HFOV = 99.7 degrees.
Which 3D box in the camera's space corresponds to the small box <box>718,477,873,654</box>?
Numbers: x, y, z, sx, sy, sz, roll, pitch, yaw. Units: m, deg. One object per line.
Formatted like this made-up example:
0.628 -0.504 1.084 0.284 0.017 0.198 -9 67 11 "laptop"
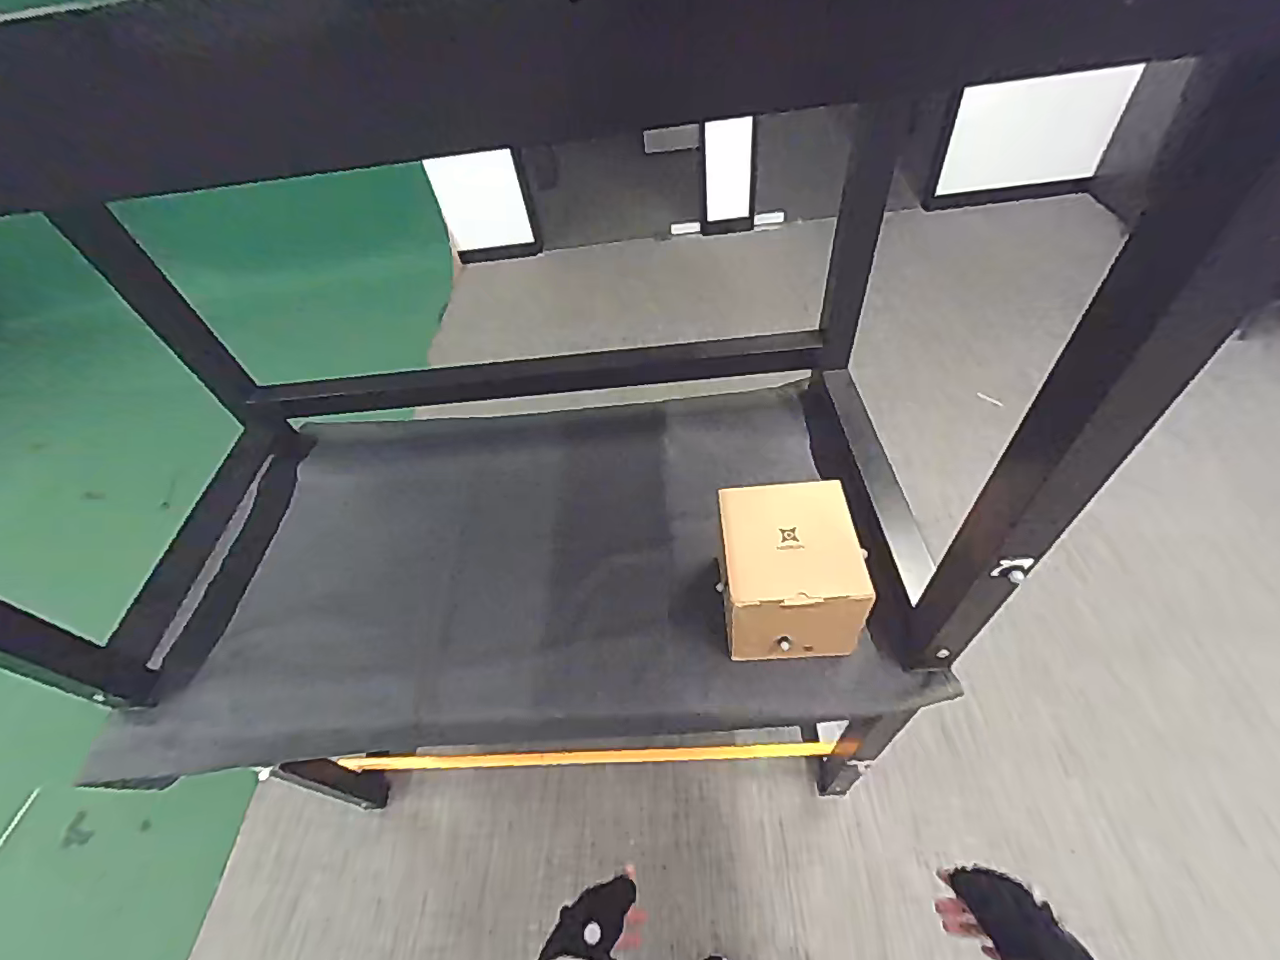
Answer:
0.195 0.119 0.738 0.168 0.176 0.179 -5 50 5 "small box"
